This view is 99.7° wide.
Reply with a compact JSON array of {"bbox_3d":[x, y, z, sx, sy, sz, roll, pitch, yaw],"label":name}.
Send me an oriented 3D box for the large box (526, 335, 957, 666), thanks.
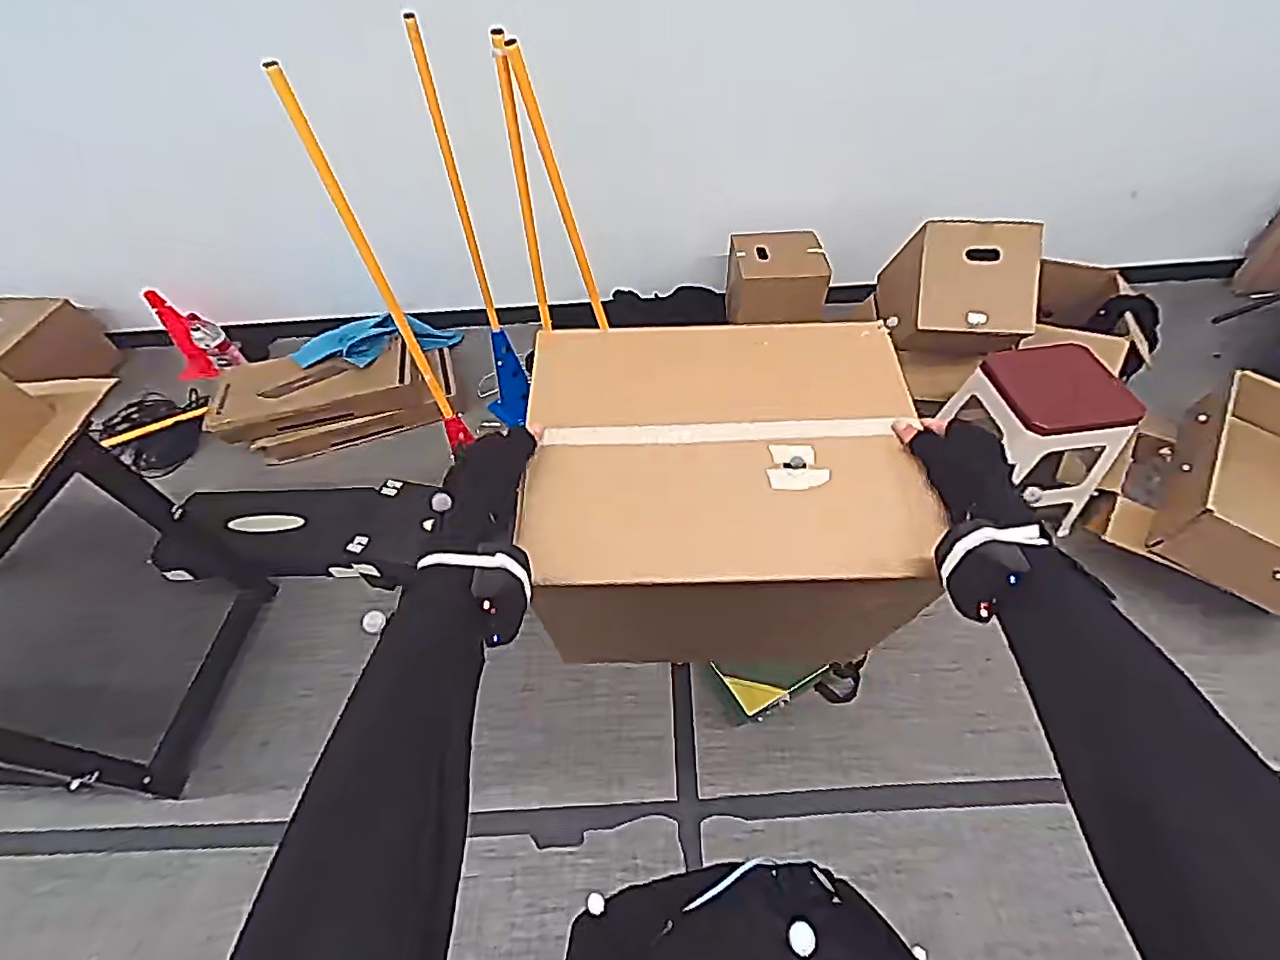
[{"bbox_3d":[0.090,0.041,0.693,0.408,0.320,0.320,-1,59,0],"label":"large box"}]
